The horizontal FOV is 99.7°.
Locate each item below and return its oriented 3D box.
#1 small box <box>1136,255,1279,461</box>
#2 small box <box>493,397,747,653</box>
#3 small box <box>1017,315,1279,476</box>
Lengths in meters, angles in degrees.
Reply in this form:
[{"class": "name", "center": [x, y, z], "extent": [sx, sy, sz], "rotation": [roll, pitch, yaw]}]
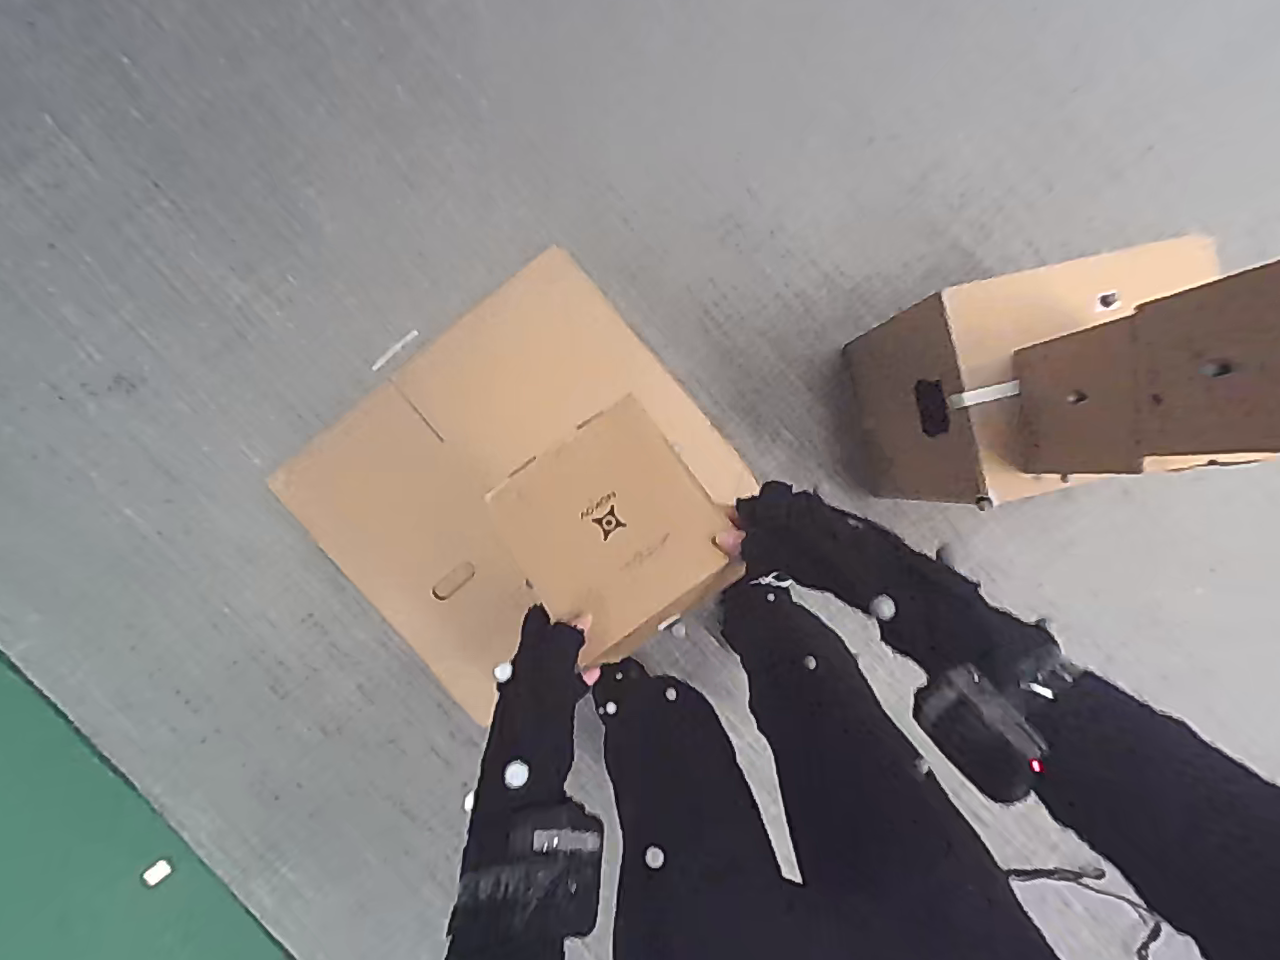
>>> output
[{"class": "small box", "center": [0.621, -0.113, 0.508], "extent": [0.179, 0.176, 0.168], "rotation": [-7, 88, -4]}, {"class": "small box", "center": [-0.011, 0.055, 0.546], "extent": [0.168, 0.176, 0.179], "rotation": [-37, 72, -1]}, {"class": "small box", "center": [0.608, -0.099, 0.668], "extent": [0.168, 0.176, 0.179], "rotation": [-6, 90, -3]}]
